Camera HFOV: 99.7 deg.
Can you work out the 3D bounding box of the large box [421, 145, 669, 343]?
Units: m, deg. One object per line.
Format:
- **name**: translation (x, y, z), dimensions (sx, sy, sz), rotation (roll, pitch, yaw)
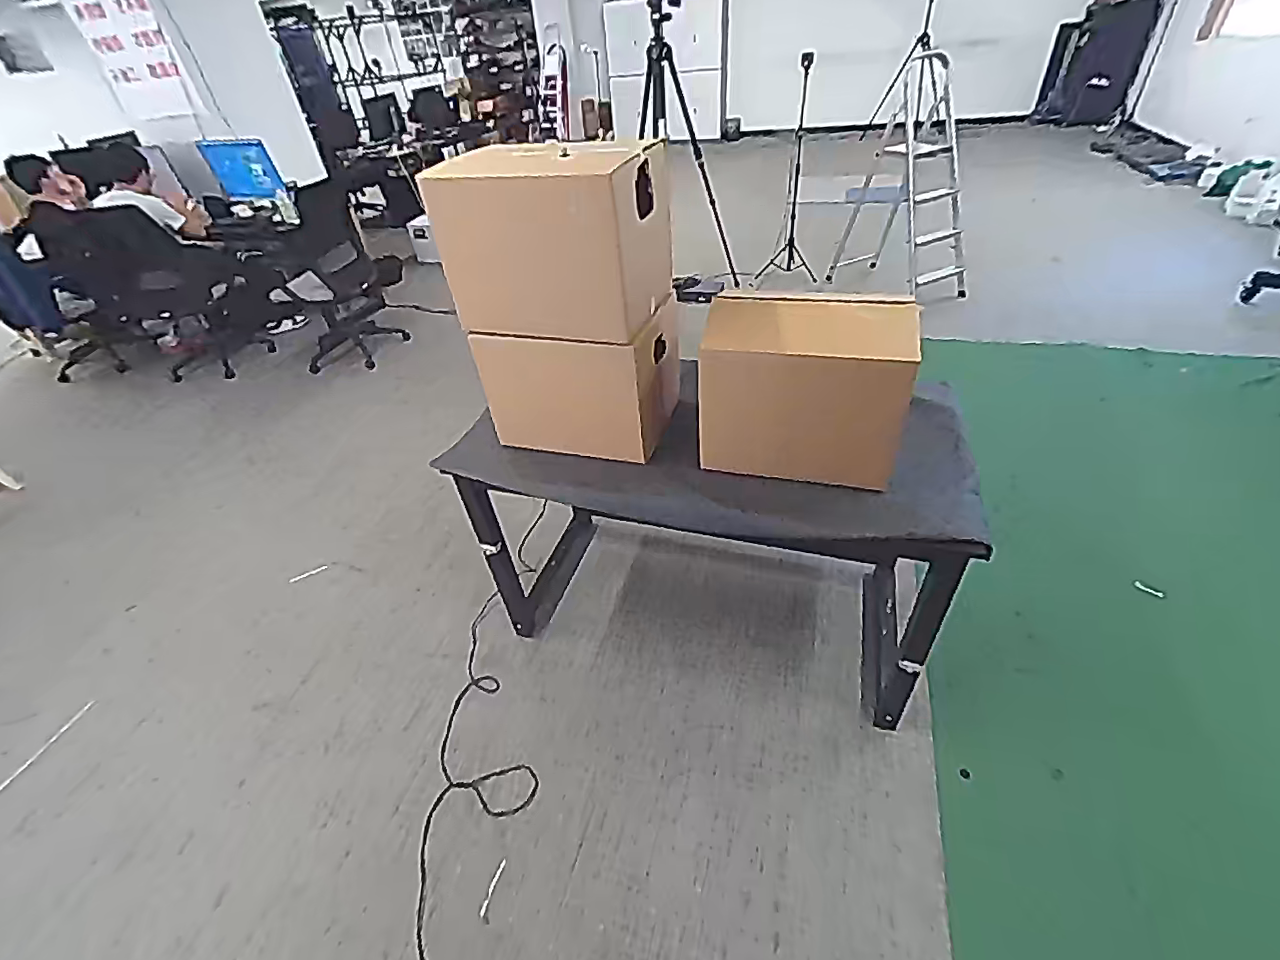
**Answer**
- **large box**: translation (-0.172, -0.514, 1.158), dimensions (0.408, 0.320, 0.320), rotation (10, 43, 16)
